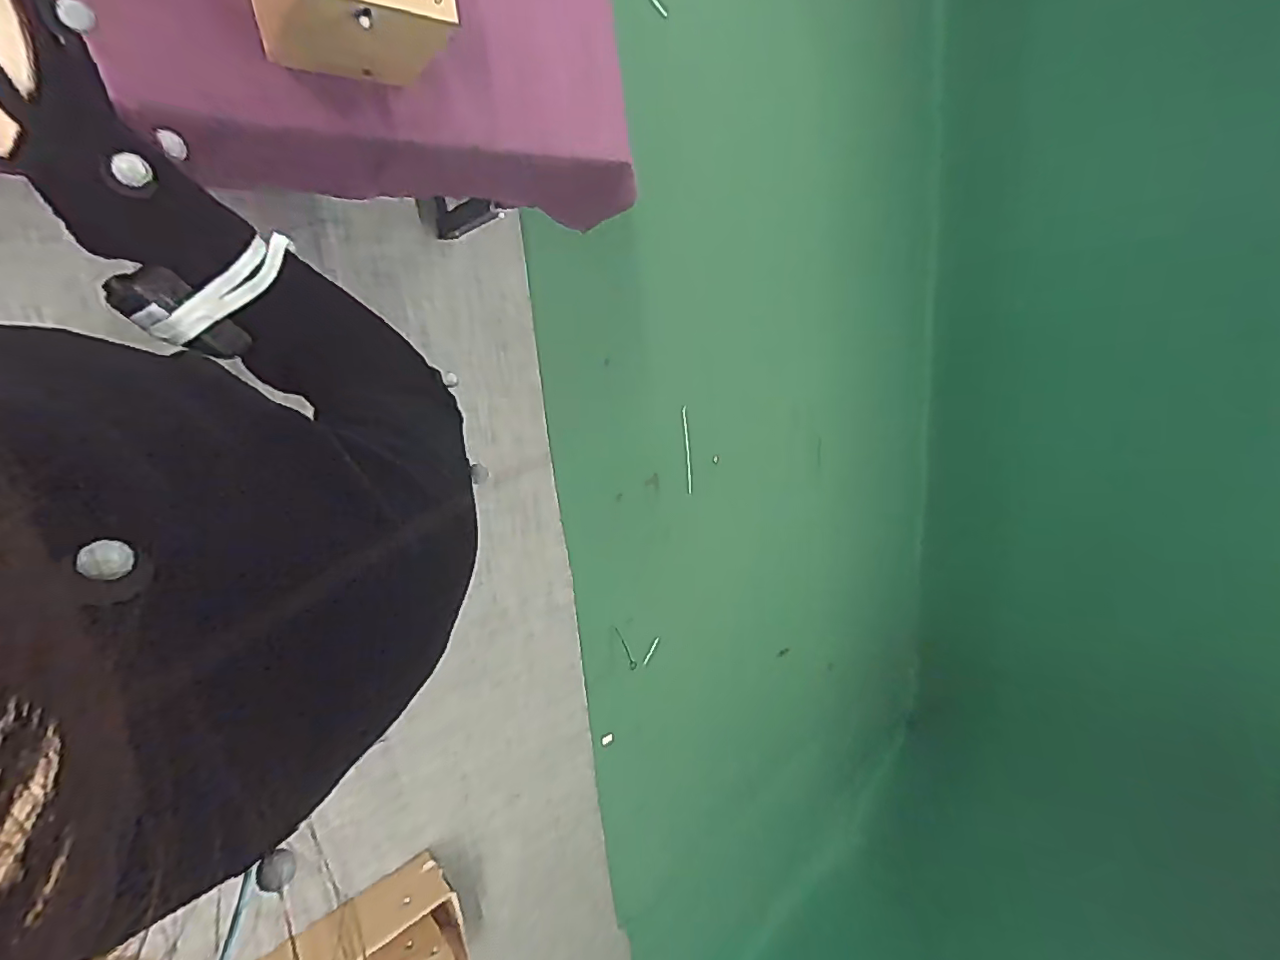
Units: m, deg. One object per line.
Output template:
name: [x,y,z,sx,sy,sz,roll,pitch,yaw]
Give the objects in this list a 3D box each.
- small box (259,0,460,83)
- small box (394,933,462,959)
small box: [-0.328,-0.585,0.598,0.168,0.176,0.179,-21,110,-37]
small box: [-0.557,1.346,1.413,0.168,0.176,0.179,-10,105,-40]
